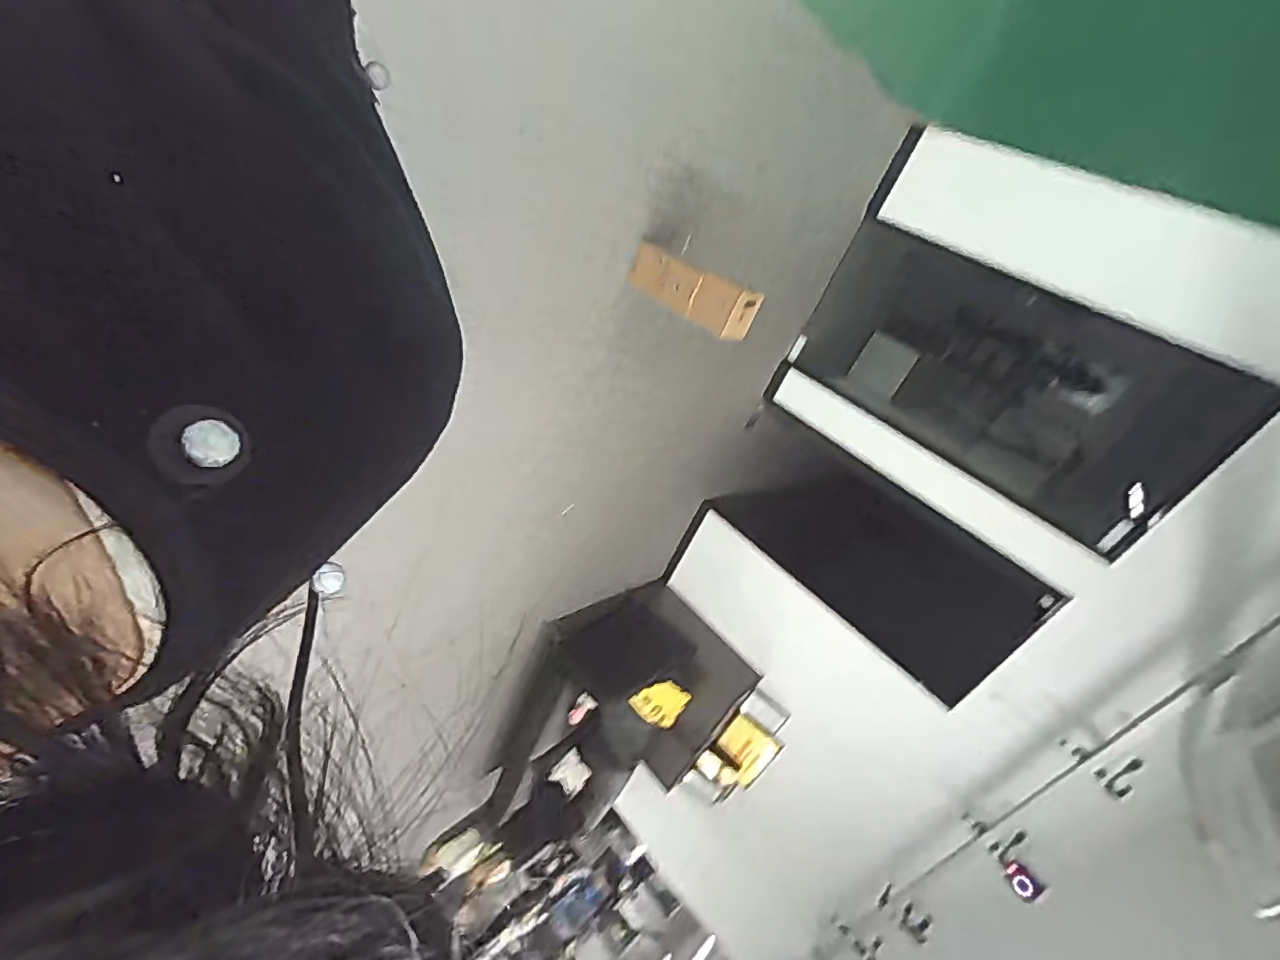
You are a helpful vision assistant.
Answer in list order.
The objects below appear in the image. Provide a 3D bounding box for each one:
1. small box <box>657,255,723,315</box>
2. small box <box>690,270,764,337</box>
[{"bbox_3d":[0.194,-0.729,2.034,0.179,0.176,0.168,-14,137,-47],"label":"small box"},{"bbox_3d":[0.311,-0.640,1.959,0.168,0.176,0.179,-14,138,-48],"label":"small box"}]
